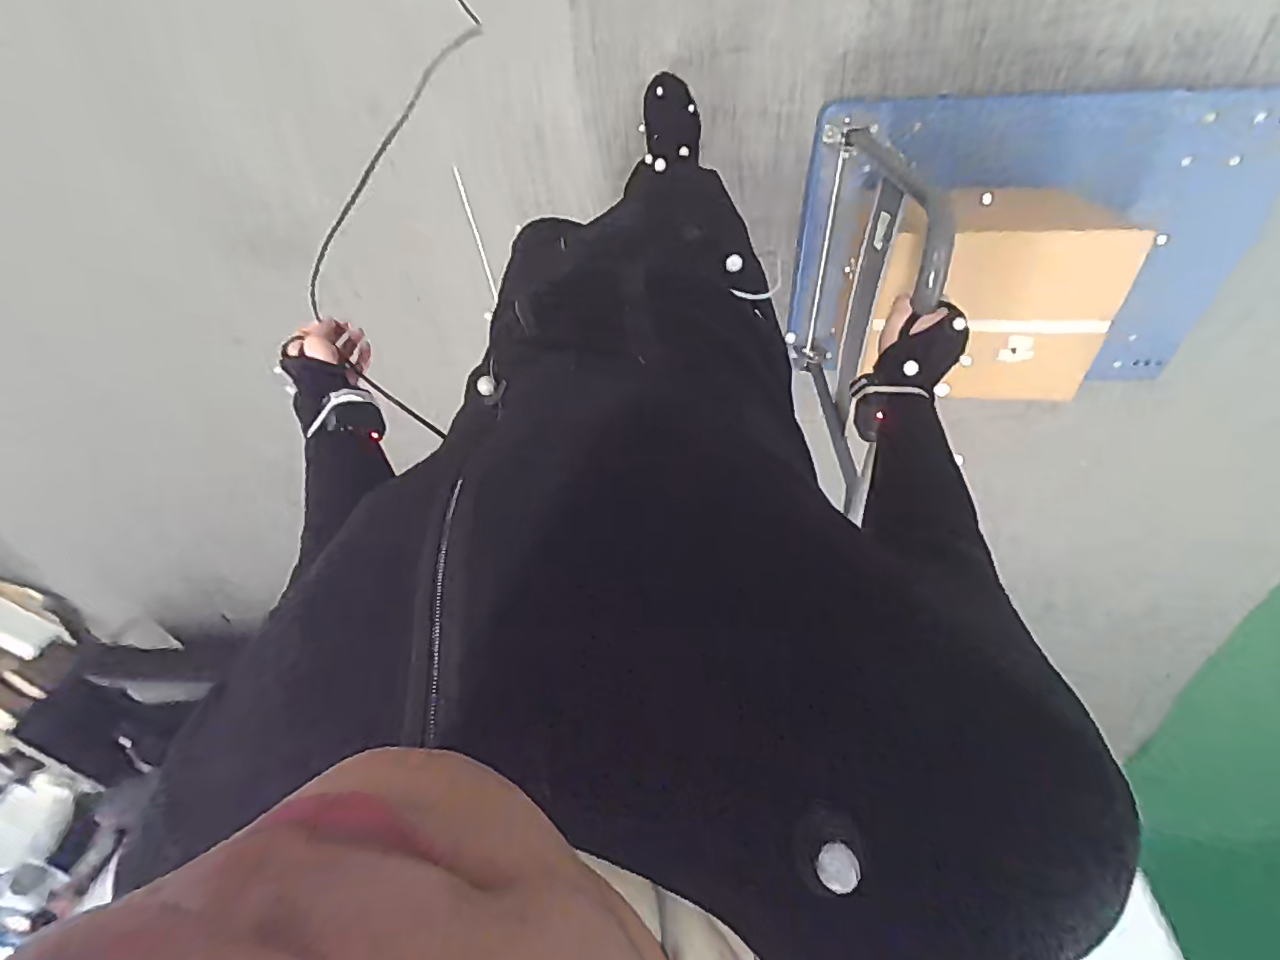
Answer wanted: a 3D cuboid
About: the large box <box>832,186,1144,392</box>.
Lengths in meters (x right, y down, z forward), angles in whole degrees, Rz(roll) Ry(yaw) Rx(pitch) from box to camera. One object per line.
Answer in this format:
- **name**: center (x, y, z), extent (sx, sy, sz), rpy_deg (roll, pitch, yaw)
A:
- **large box**: center (0.634, -0.389, 1.092), extent (0.408, 0.320, 0.320), rpy_deg (3, 131, 8)
